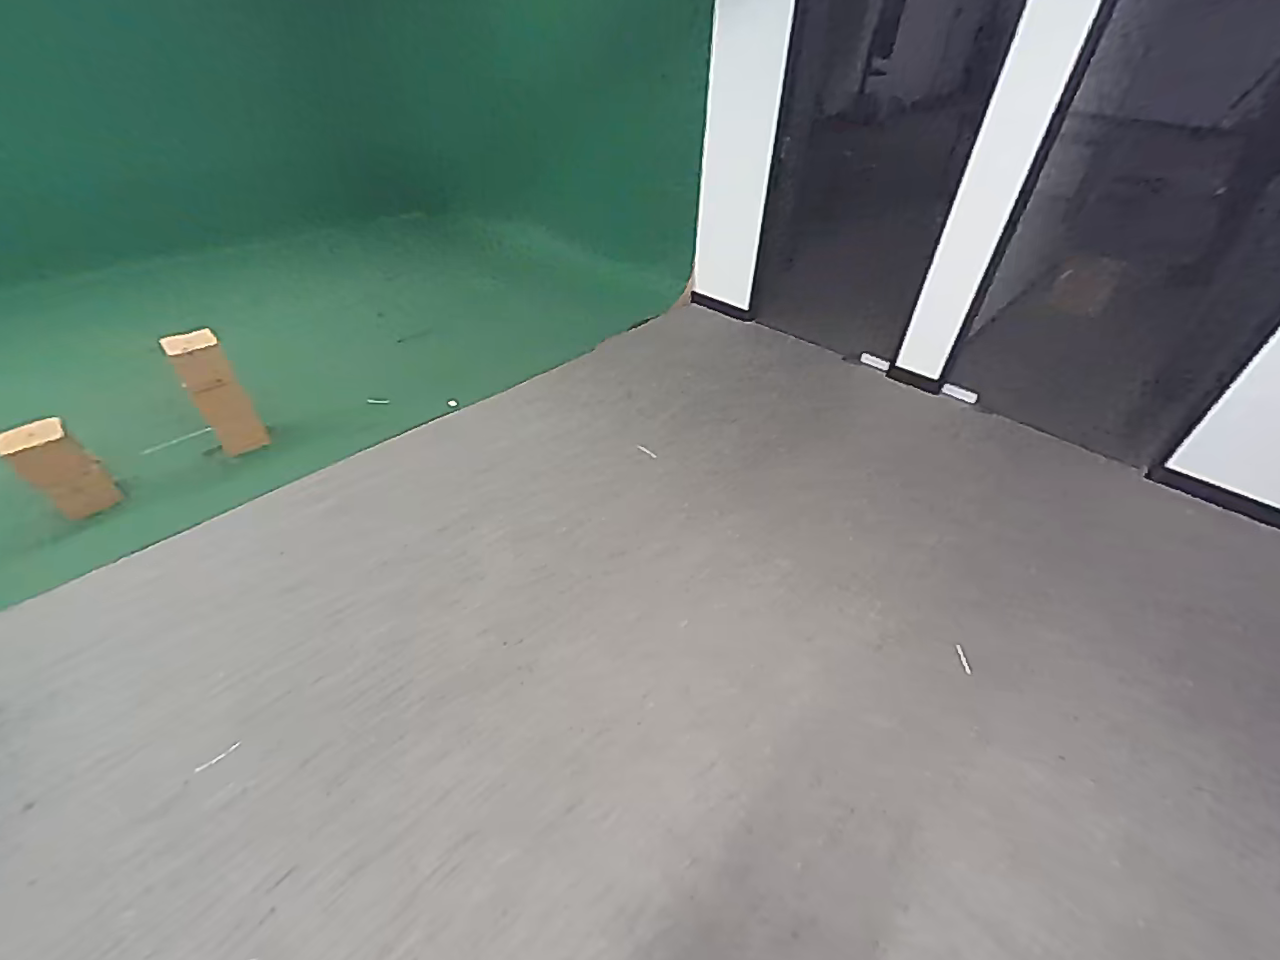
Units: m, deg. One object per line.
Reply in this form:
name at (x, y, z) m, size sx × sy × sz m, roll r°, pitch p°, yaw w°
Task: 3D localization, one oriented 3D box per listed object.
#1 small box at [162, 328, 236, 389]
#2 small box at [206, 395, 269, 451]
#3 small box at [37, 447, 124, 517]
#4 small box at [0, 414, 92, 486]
small box at (-1.758, -0.485, 2.159) m, size 0.168 × 0.176 × 0.179 m, roll -29°, pitch 49°, yaw -32°
small box at (-1.771, -0.245, 2.384) m, size 0.168 × 0.176 × 0.179 m, roll -26°, pitch 48°, yaw -29°
small box at (-2.150, 0.010, 2.072) m, size 0.168 × 0.176 × 0.179 m, roll 34°, pitch 50°, yaw 30°
small box at (-2.153, -0.105, 1.957) m, size 0.179 × 0.176 × 0.168 m, roll -31°, pitch 52°, yaw -33°
